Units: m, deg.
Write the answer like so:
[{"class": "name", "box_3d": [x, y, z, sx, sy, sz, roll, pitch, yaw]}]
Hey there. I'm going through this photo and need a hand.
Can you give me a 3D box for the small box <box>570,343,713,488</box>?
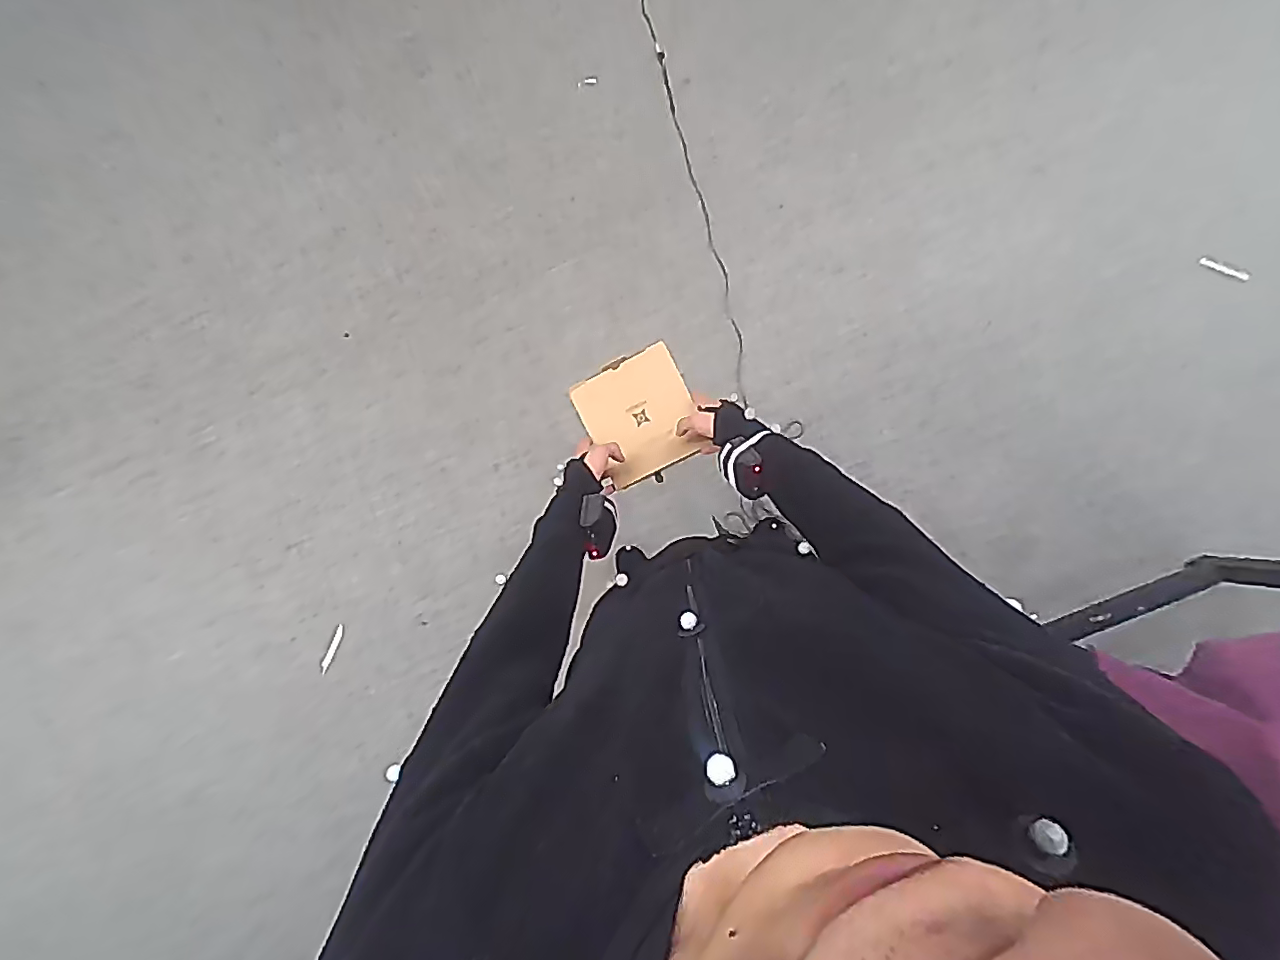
[{"class": "small box", "box_3d": [0.004, -0.095, 0.893, 0.168, 0.176, 0.179, -26, 89, 3]}]
